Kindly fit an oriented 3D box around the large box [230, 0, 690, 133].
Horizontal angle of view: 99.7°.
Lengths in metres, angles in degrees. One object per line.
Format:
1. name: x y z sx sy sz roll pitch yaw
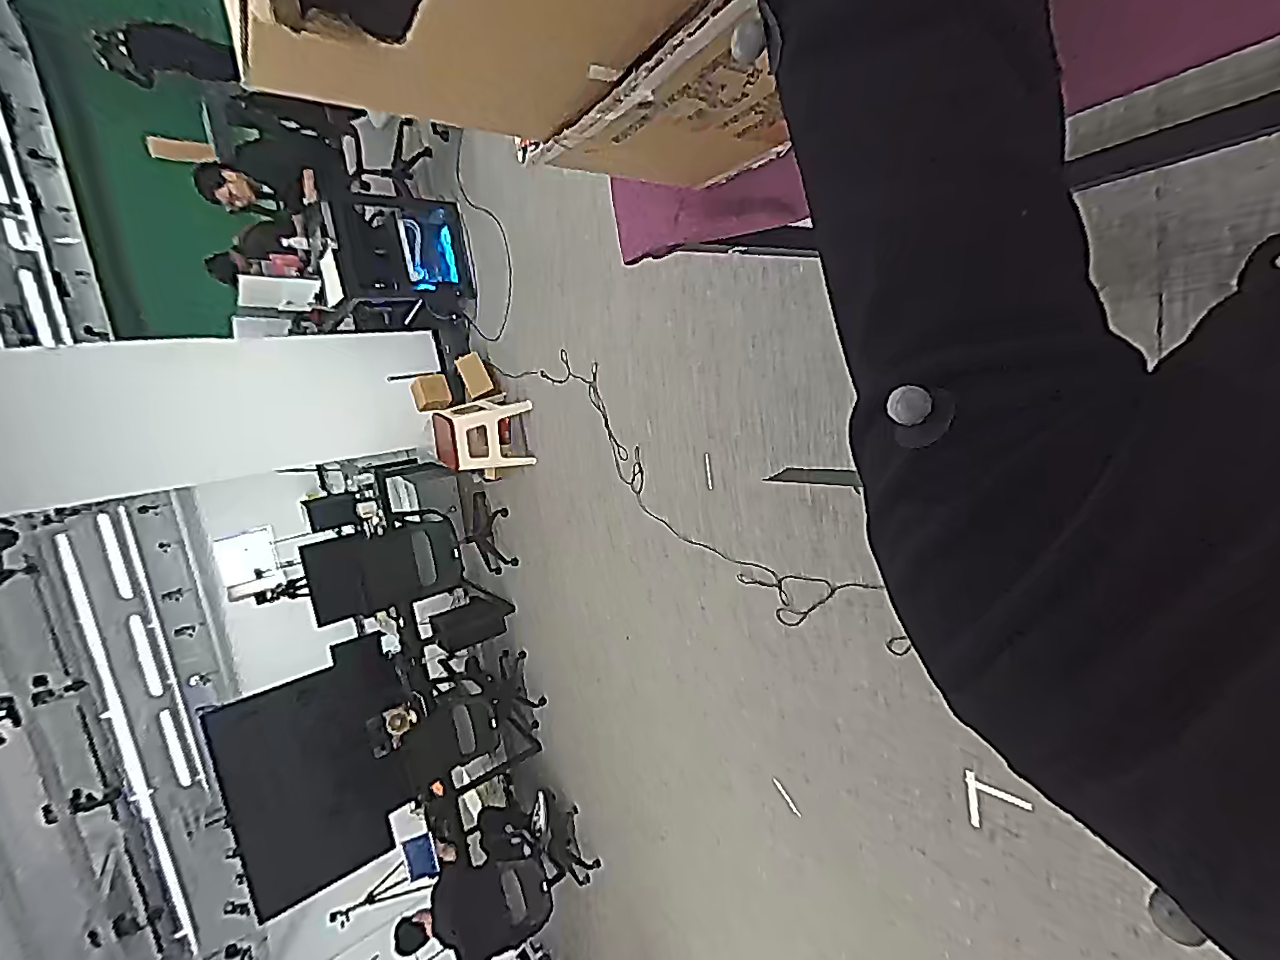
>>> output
1. large box: -0.161 -0.563 0.407 0.320 0.320 0.408 4 106 54
